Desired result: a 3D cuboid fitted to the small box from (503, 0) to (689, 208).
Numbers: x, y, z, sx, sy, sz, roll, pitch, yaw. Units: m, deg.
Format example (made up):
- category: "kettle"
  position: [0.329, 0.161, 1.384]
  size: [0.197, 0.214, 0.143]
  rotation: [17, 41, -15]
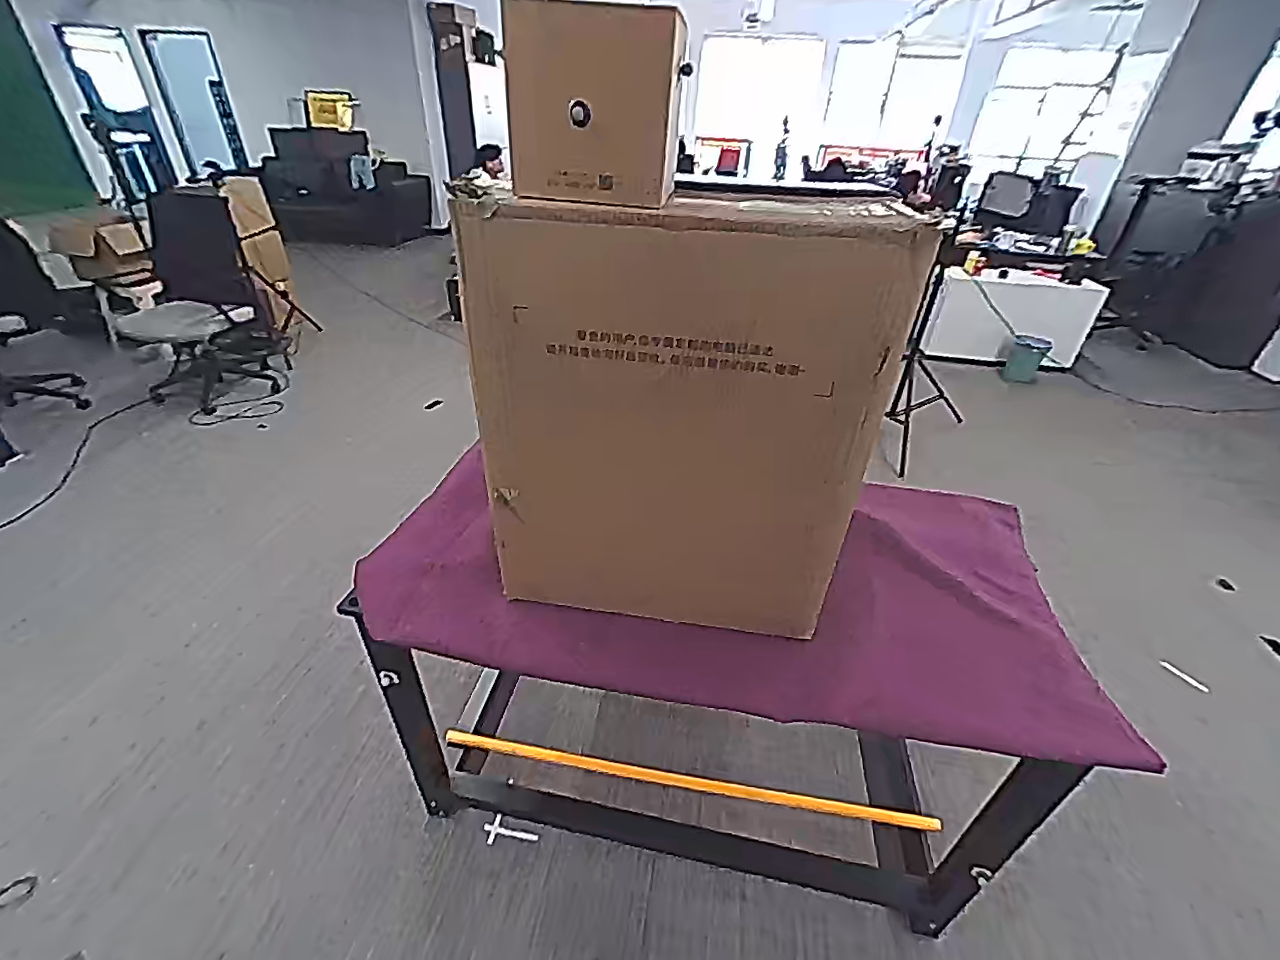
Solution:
- category: "small box"
  position: [-0.039, -0.412, 0.606]
  size: [0.168, 0.176, 0.179]
  rotation: [8, 35, 4]
